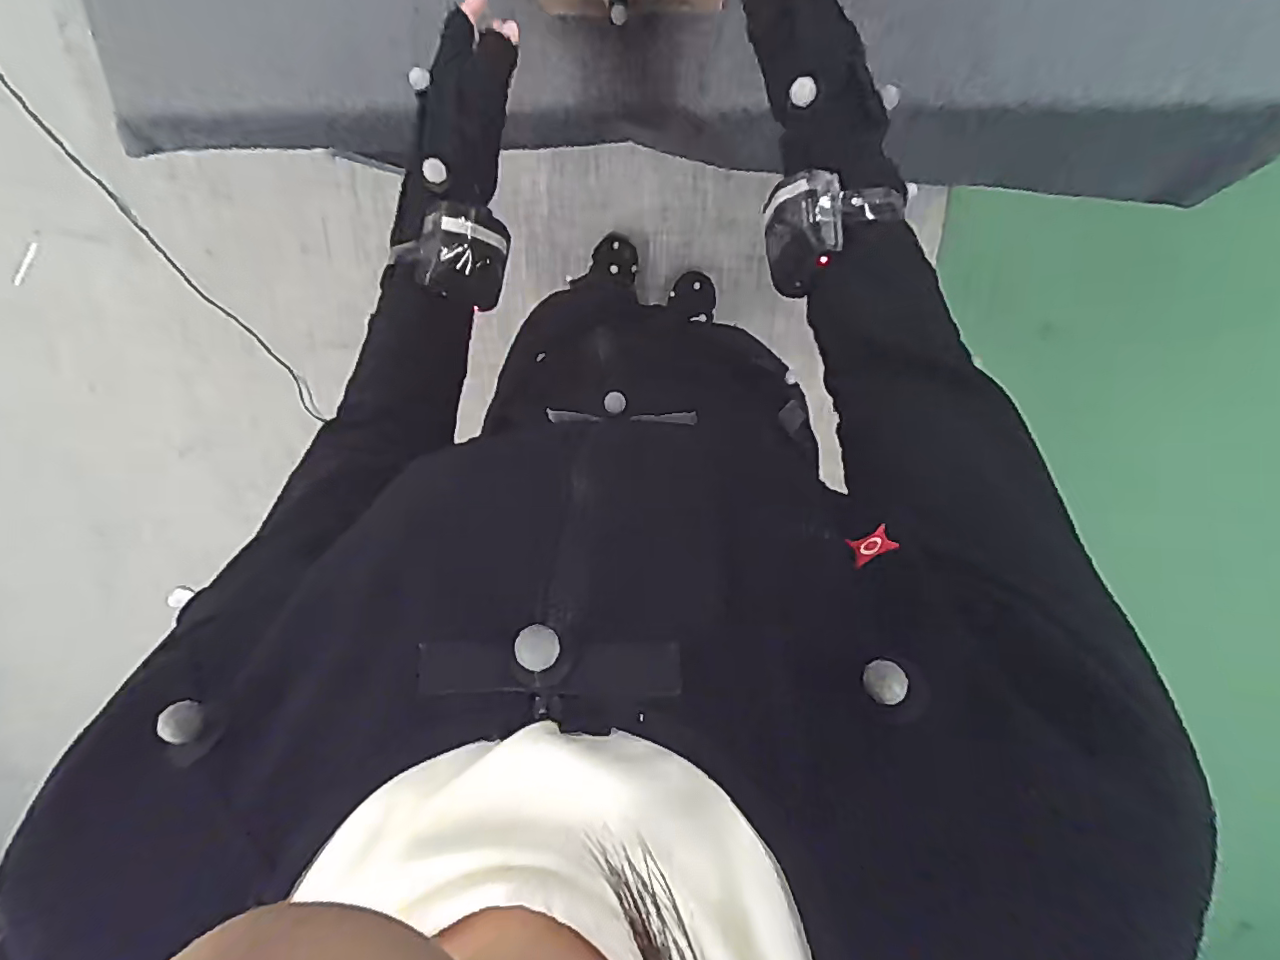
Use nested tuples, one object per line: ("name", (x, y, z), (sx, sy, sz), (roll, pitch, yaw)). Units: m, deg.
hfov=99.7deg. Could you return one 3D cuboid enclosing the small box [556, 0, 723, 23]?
("small box", (-0.009, -0.496, 0.415), (0.168, 0.176, 0.179), (1, 112, 6))
